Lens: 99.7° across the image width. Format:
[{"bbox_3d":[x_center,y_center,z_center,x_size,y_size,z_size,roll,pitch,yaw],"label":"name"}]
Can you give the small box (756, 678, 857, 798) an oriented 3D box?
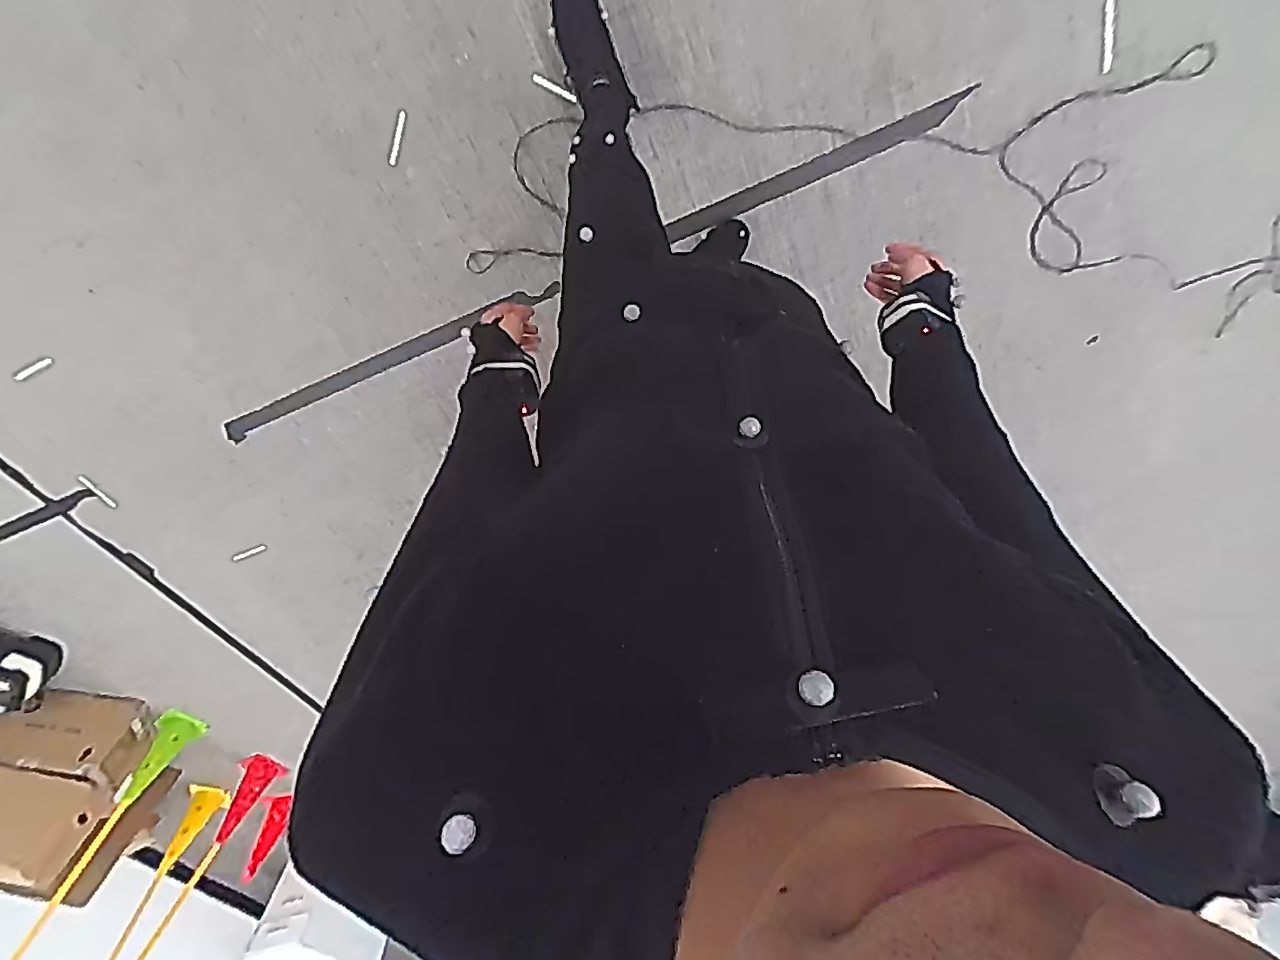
[{"bbox_3d":[0.359,0.576,1.219,0.179,0.176,0.168,-23,120,14],"label":"small box"}]
